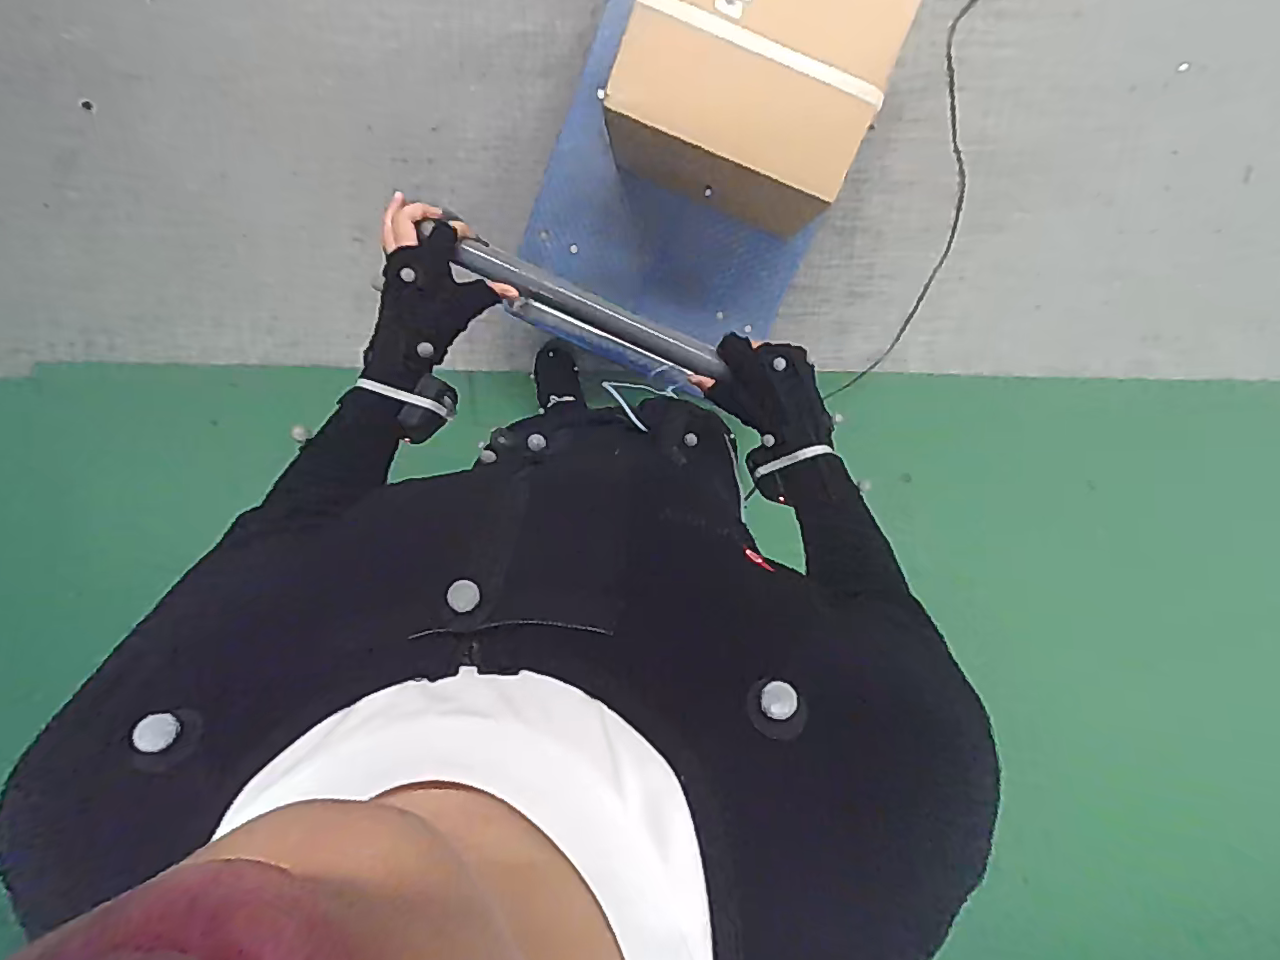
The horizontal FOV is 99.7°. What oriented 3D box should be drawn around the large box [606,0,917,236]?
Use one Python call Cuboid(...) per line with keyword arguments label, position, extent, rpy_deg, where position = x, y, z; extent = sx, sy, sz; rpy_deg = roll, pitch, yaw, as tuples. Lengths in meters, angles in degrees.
Cuboid(label="large box", position=(0.190, -0.691, 0.980), extent=(0.408, 0.320, 0.320), rpy_deg=(21, 103, -2))
